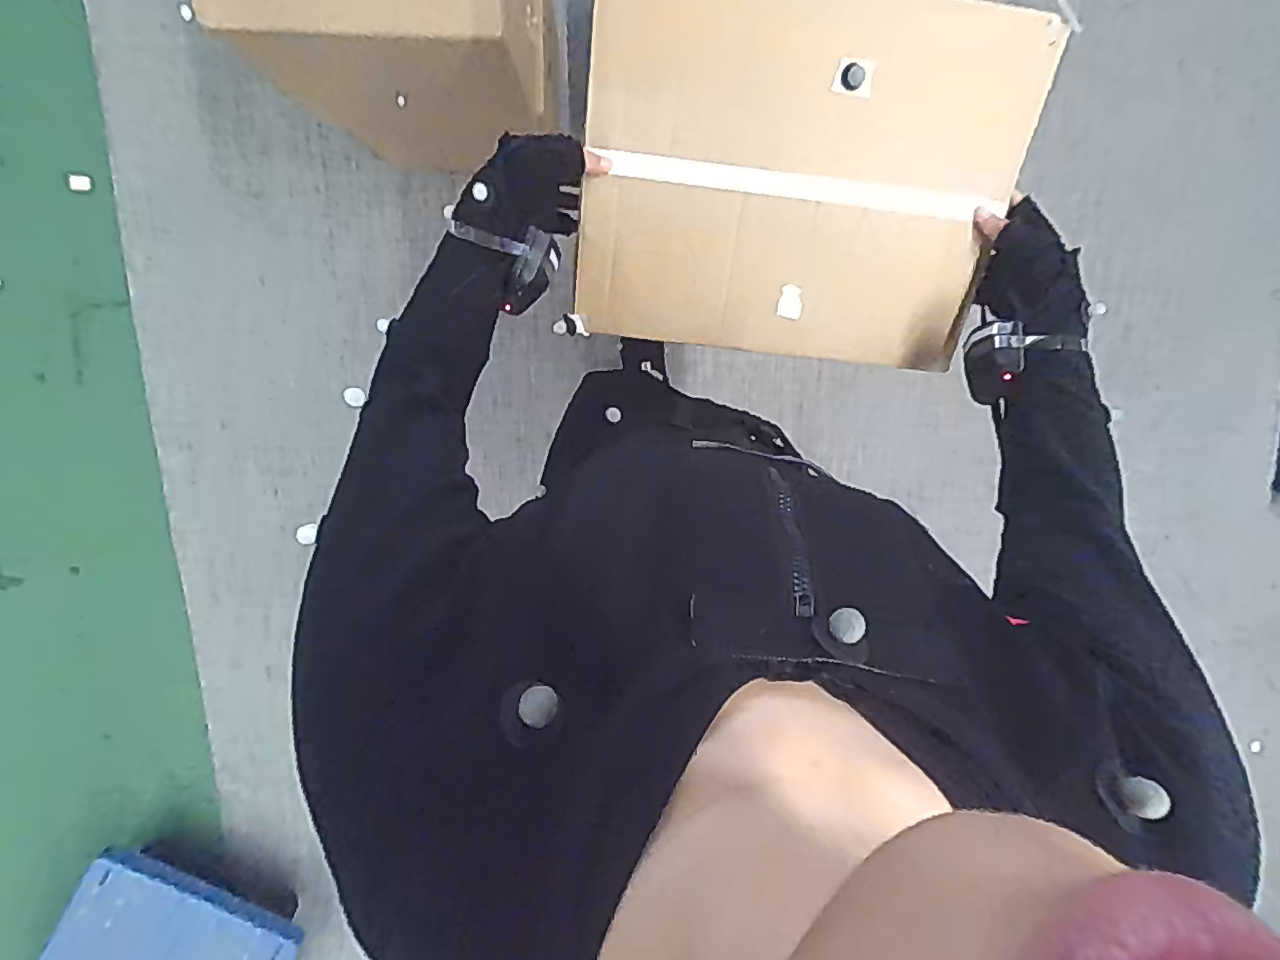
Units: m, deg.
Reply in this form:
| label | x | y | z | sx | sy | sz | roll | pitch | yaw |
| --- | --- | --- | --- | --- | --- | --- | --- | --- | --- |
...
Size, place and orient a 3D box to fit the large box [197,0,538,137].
| label | x | y | z | sx | sy | sz | roll | pitch | yaw |
| --- | --- | --- | --- | --- | --- | --- | --- | --- | --- |
| large box | -0.386 | -0.762 | 0.839 | 0.408 | 0.320 | 0.320 | 1 | 101 | -2 |
